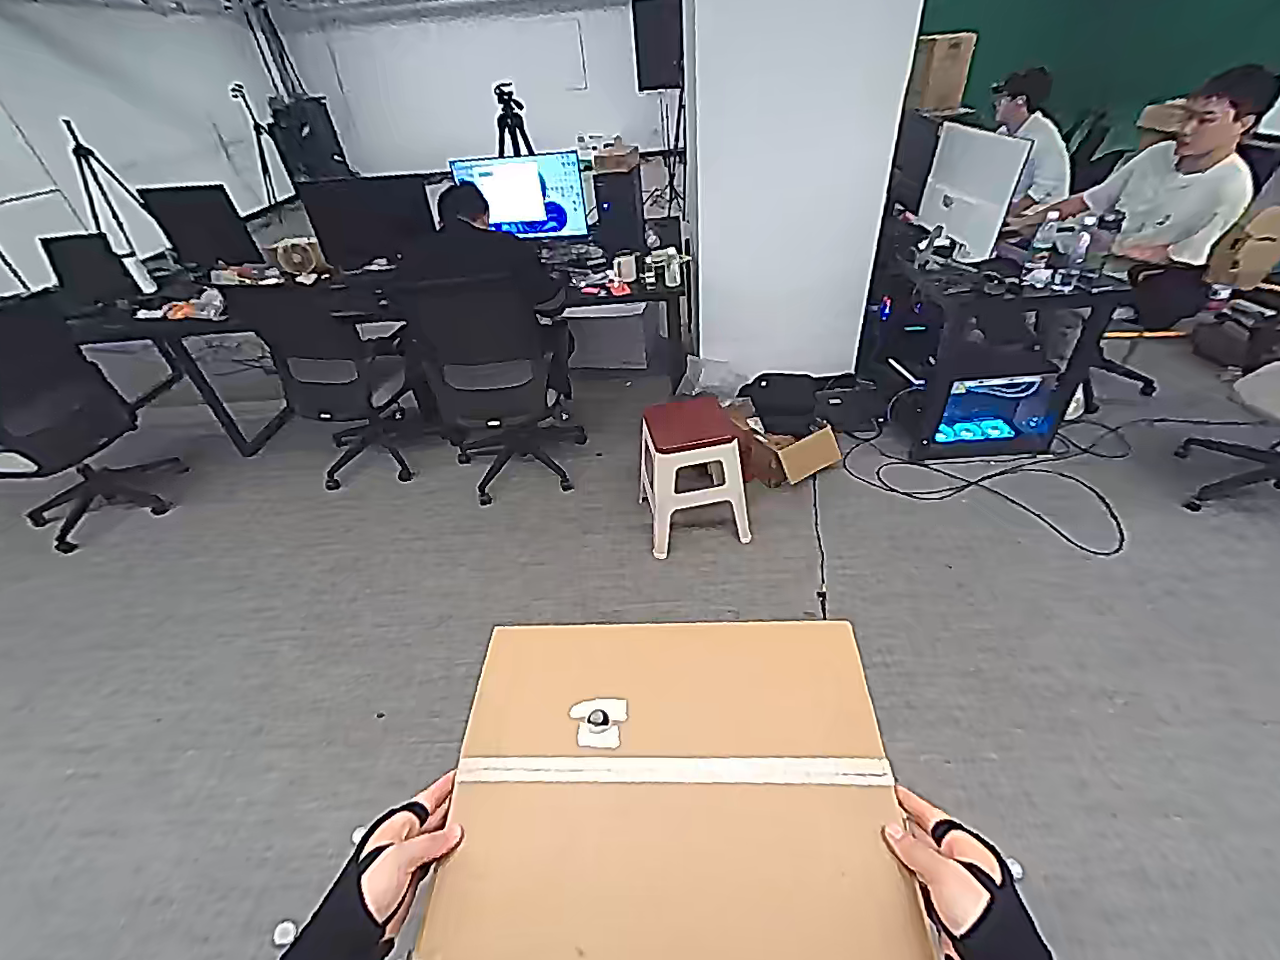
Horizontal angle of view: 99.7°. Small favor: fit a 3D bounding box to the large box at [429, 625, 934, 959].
[{"bbox_3d":[0.045,0.390,0.618,0.408,0.320,0.320,-4,43,6],"label":"large box"}]
